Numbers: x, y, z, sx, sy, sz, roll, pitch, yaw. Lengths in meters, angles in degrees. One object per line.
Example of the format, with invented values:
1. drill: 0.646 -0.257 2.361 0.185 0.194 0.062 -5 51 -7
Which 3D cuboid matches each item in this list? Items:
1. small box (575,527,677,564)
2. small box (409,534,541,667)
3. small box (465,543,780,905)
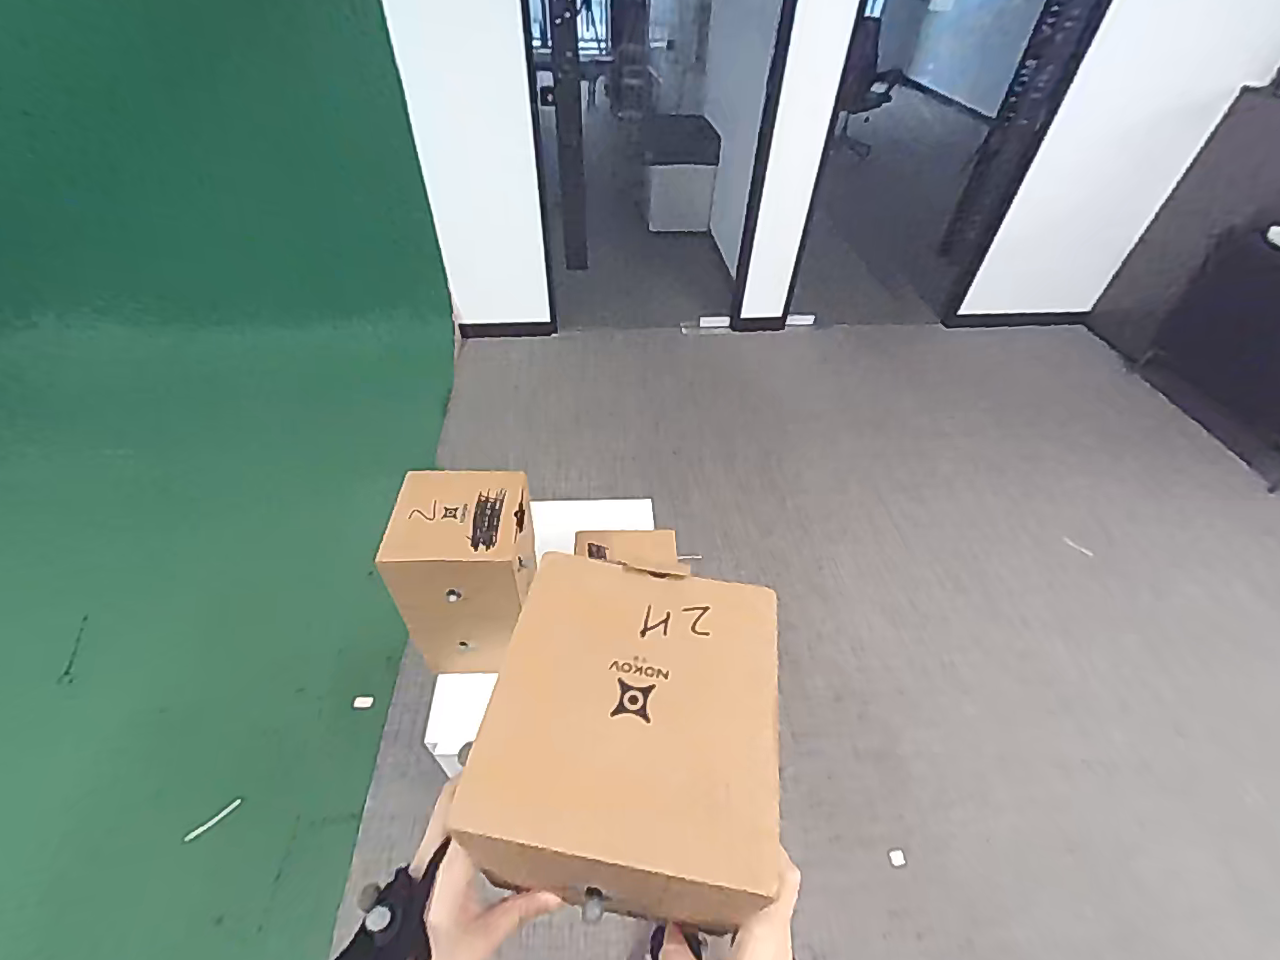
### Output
1. small box: -0.027 0.199 0.955 0.179 0.176 0.168 1 47 -2
2. small box: -0.270 0.210 0.930 0.179 0.176 0.168 0 47 -4
3. small box: -0.002 0.176 0.388 0.168 0.176 0.179 10 45 4
